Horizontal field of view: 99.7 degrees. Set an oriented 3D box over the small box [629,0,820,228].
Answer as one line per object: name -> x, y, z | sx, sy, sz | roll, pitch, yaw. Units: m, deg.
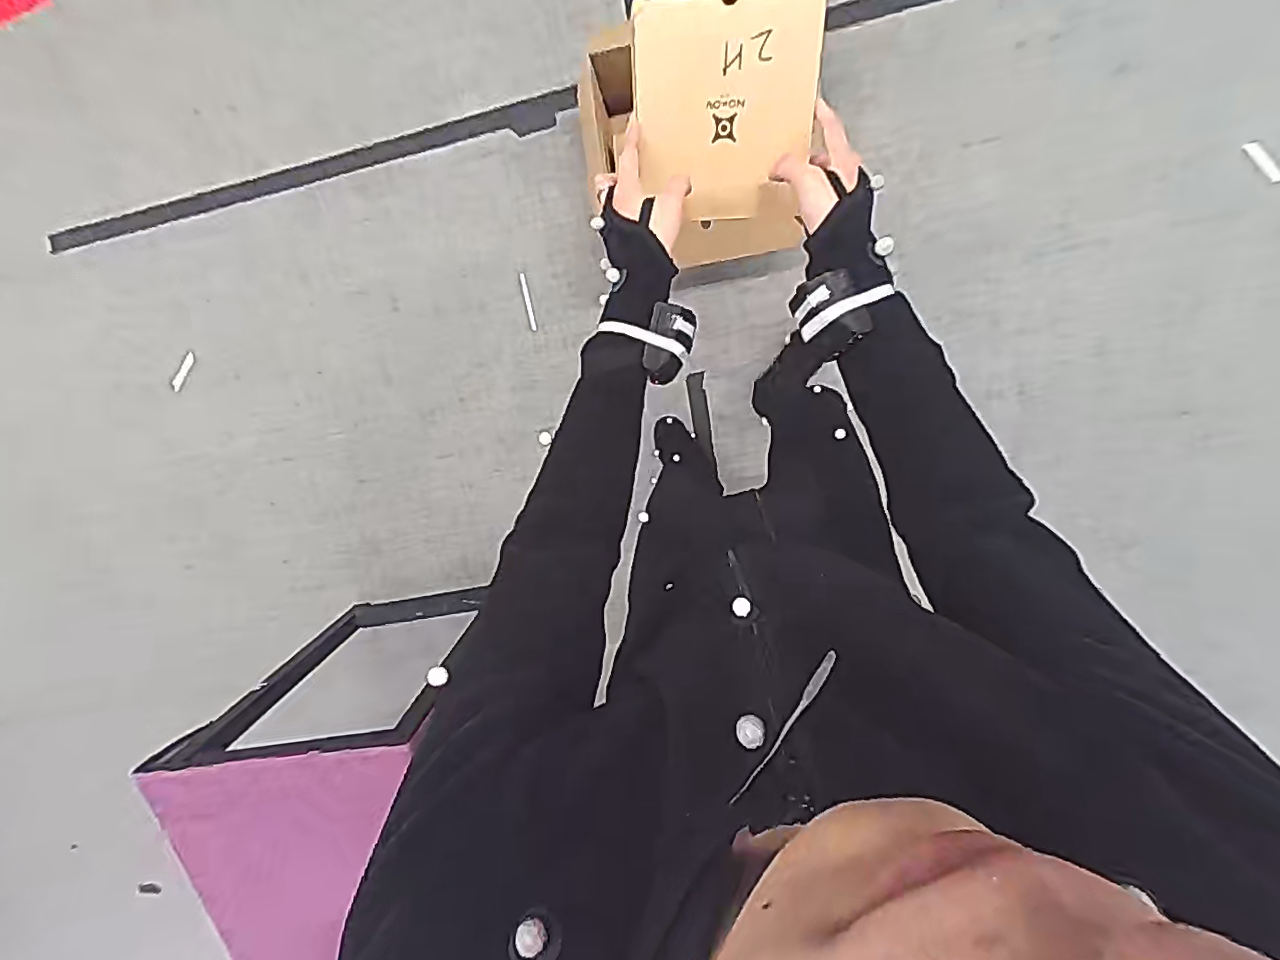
small box -> 0.074, -0.374, 0.570 | 0.168, 0.176, 0.179 | -3, 120, 0
